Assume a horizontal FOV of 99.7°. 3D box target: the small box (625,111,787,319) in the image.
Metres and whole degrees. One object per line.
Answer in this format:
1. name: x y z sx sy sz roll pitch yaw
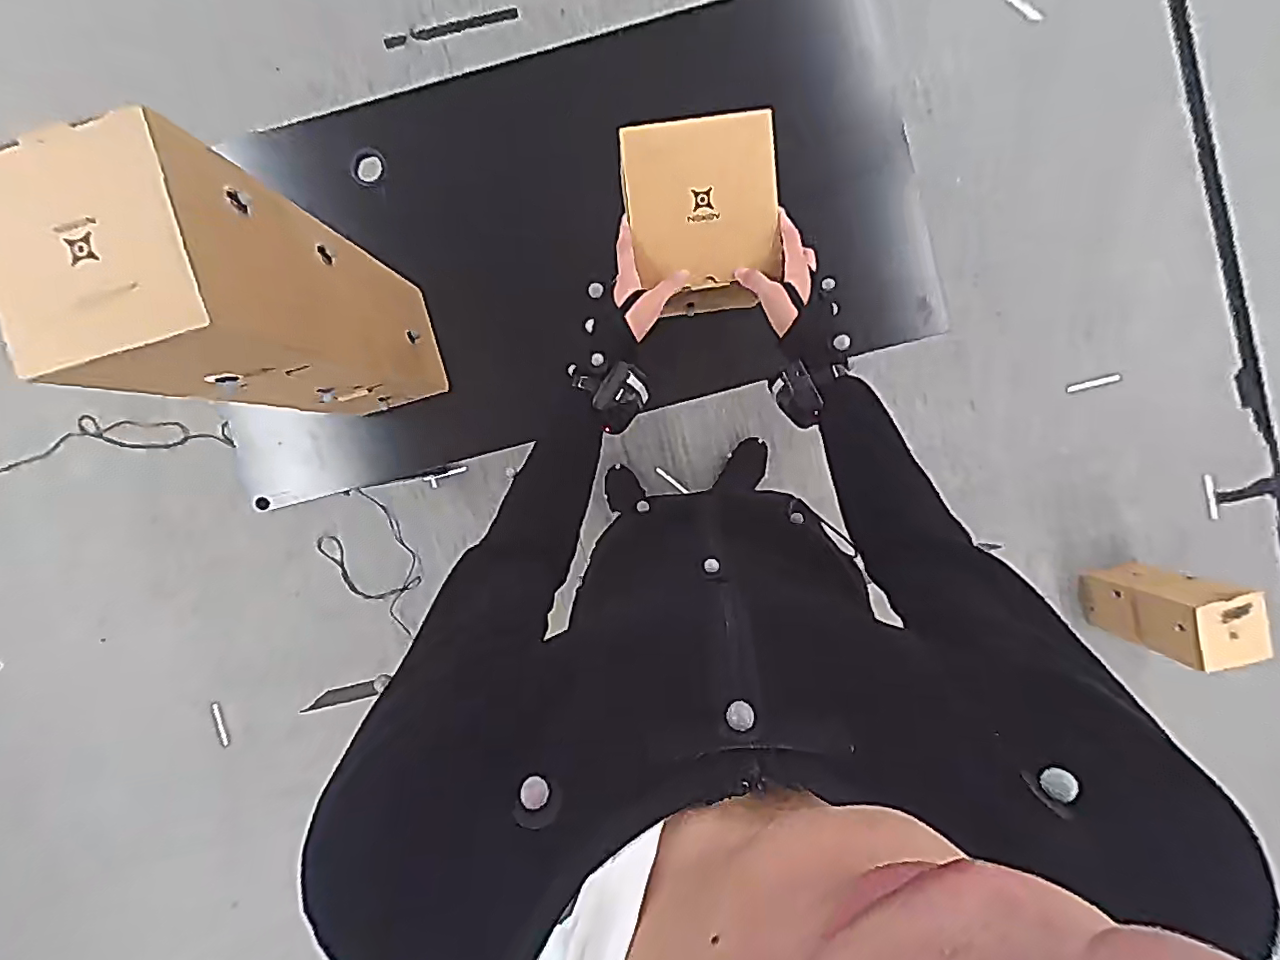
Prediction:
1. small box: 0.070 -0.306 0.660 0.168 0.176 0.179 -7 98 1

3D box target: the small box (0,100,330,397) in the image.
1. small box: -0.424 -0.184 0.488 0.168 0.176 0.179 -16 94 3

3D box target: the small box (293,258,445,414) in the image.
1. small box: -0.419 -0.203 0.815 0.168 0.176 0.179 -16 94 2

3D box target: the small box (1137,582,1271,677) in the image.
1. small box: 1.426 0.371 1.381 0.168 0.176 0.179 -14 95 2

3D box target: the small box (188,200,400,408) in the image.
1. small box: -0.422 -0.195 0.651 0.168 0.176 0.179 -15 93 2
